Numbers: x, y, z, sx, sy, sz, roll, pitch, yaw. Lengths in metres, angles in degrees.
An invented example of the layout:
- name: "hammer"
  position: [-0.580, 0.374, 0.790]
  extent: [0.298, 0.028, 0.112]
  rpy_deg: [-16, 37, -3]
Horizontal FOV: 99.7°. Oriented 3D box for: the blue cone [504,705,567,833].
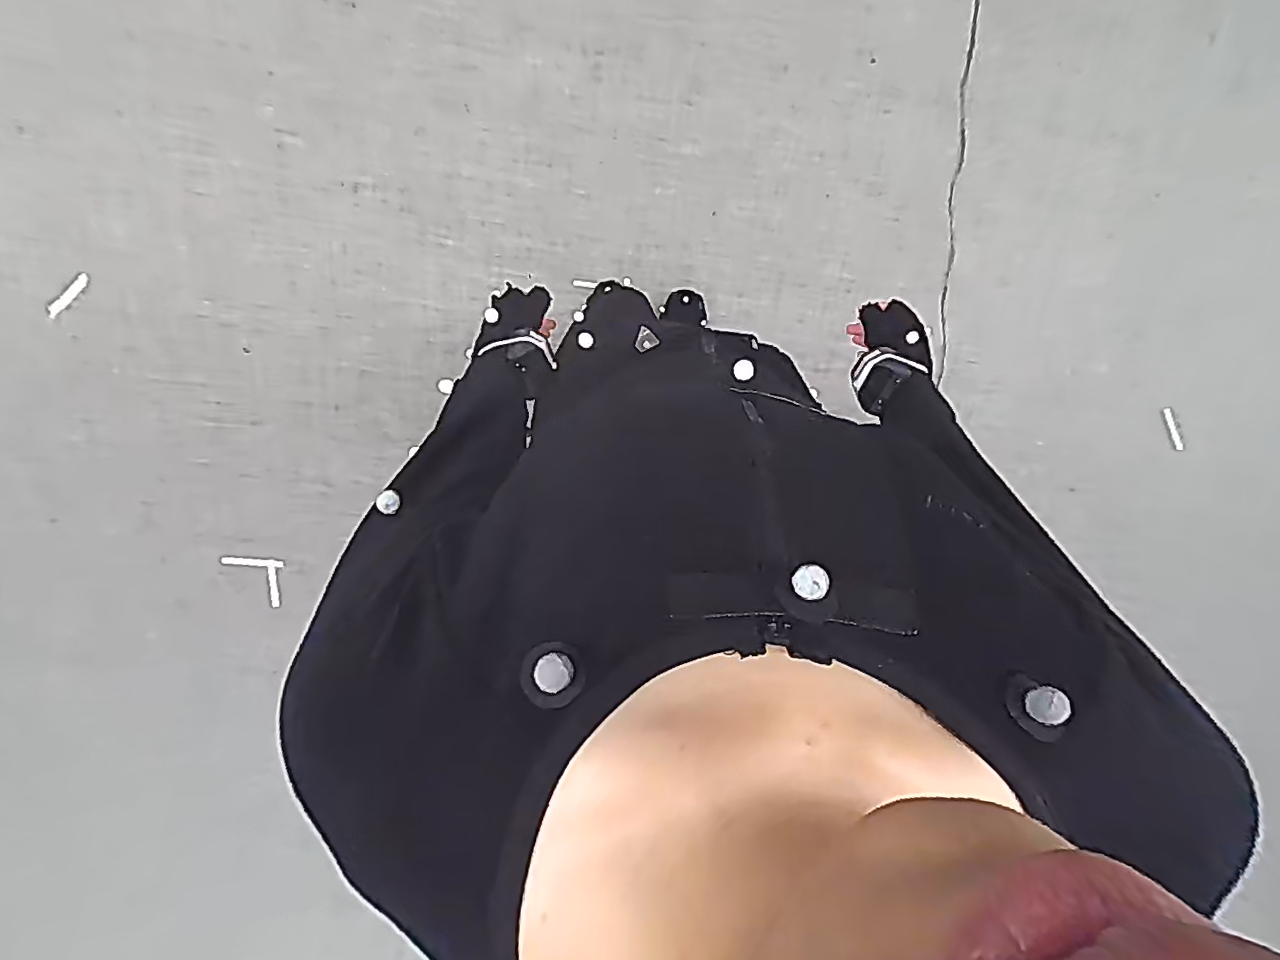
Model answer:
- name: "blue cone"
  position: [-0.331, 0.860, 1.596]
  extent: [0.192, 0.380, 0.193]
  rpy_deg: [4, 107, -1]
